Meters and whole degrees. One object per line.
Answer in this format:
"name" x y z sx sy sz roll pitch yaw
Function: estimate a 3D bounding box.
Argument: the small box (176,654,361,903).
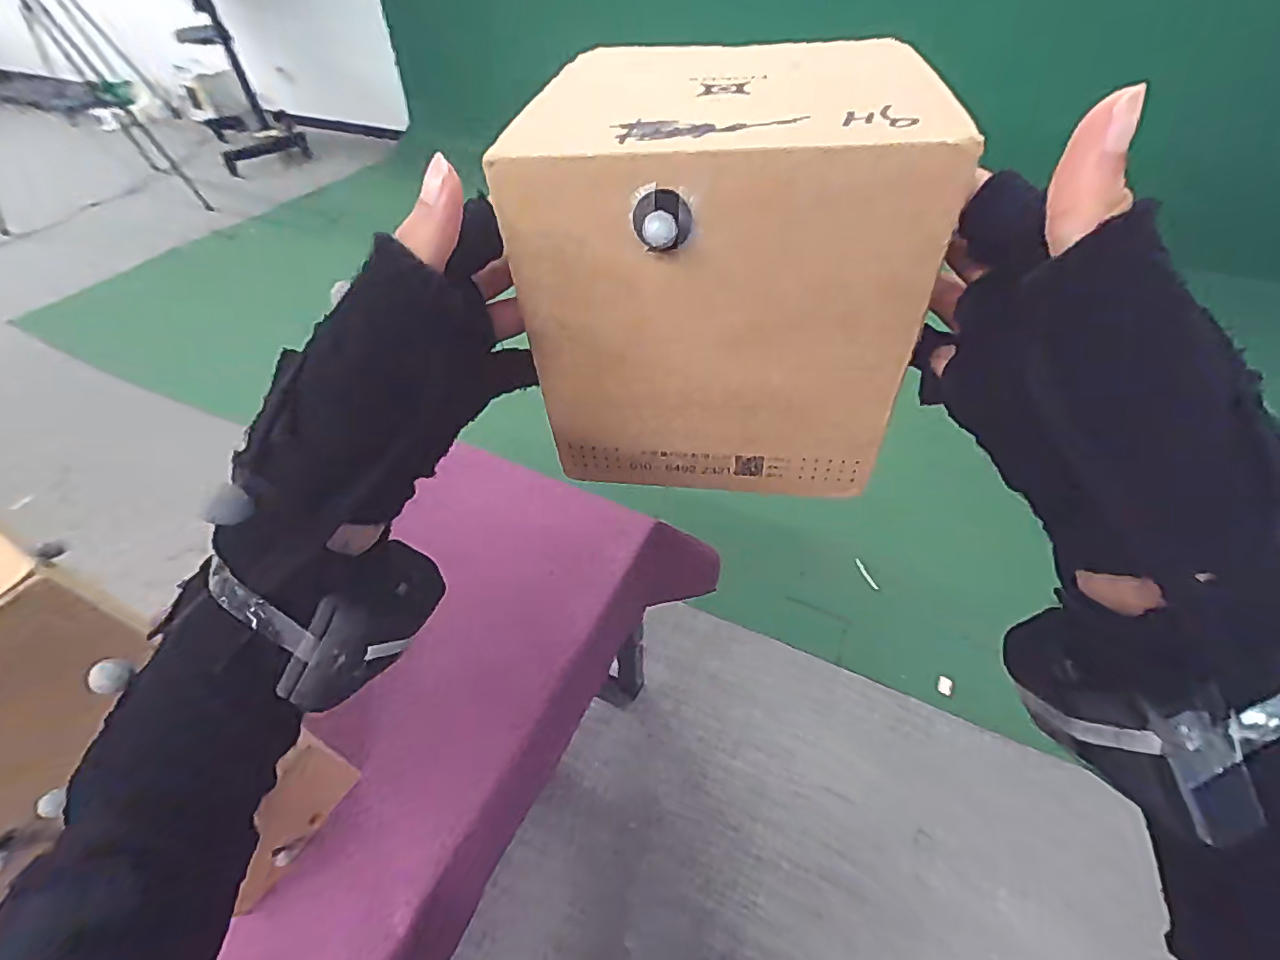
"small box" -0.459 0.335 0.604 0.179 0.176 0.168 24 53 20

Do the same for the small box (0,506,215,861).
"small box" -0.441 0.124 0.352 0.179 0.176 0.168 22 52 20

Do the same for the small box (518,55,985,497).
"small box" 0.052 -0.115 0.302 0.168 0.176 0.179 4 47 10
